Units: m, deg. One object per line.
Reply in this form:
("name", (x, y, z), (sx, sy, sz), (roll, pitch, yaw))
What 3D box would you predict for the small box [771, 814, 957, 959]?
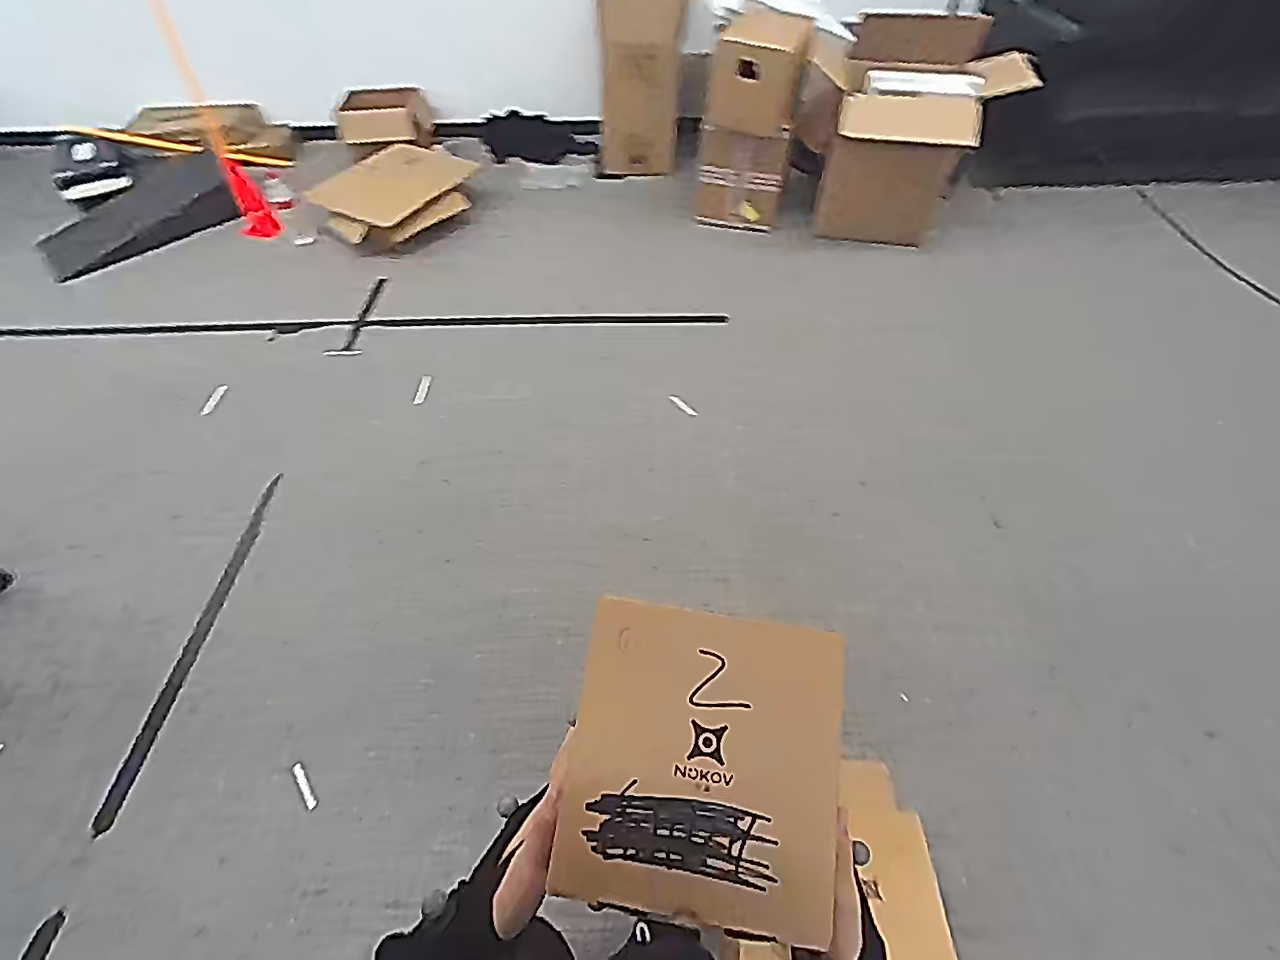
("small box", (0.287, 0.556, 0.732), (0.179, 0.176, 0.168), (-2, 53, 3))
